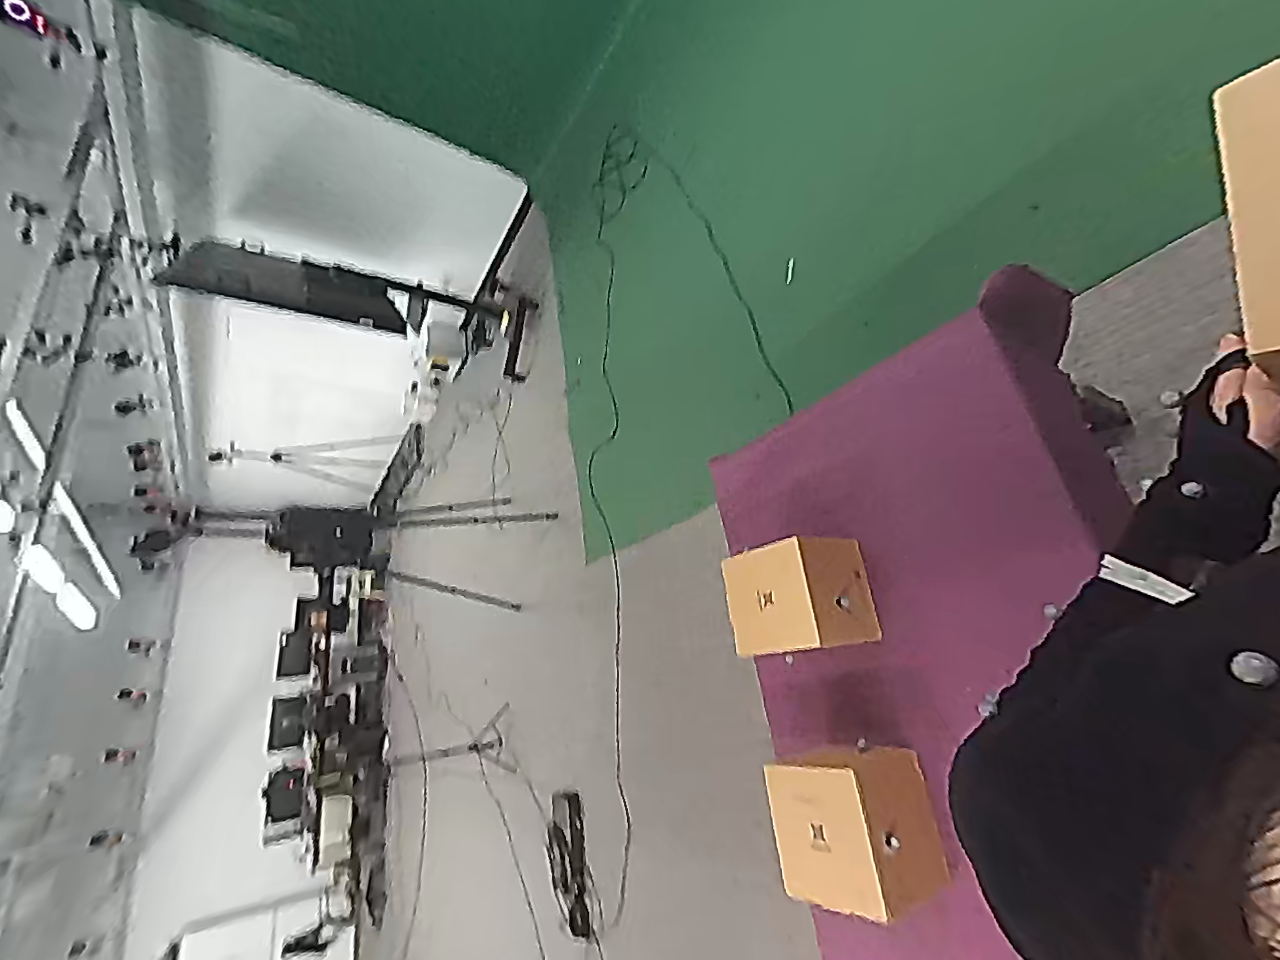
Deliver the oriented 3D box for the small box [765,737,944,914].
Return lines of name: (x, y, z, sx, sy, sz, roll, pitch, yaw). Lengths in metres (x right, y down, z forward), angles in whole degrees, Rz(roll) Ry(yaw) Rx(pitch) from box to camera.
small box: (0.318, 0.495, 0.806, 0.168, 0.176, 0.179, -31, 60, 48)

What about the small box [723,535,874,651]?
small box: (0.272, 0.192, 0.923, 0.179, 0.176, 0.168, -32, 60, 50)
